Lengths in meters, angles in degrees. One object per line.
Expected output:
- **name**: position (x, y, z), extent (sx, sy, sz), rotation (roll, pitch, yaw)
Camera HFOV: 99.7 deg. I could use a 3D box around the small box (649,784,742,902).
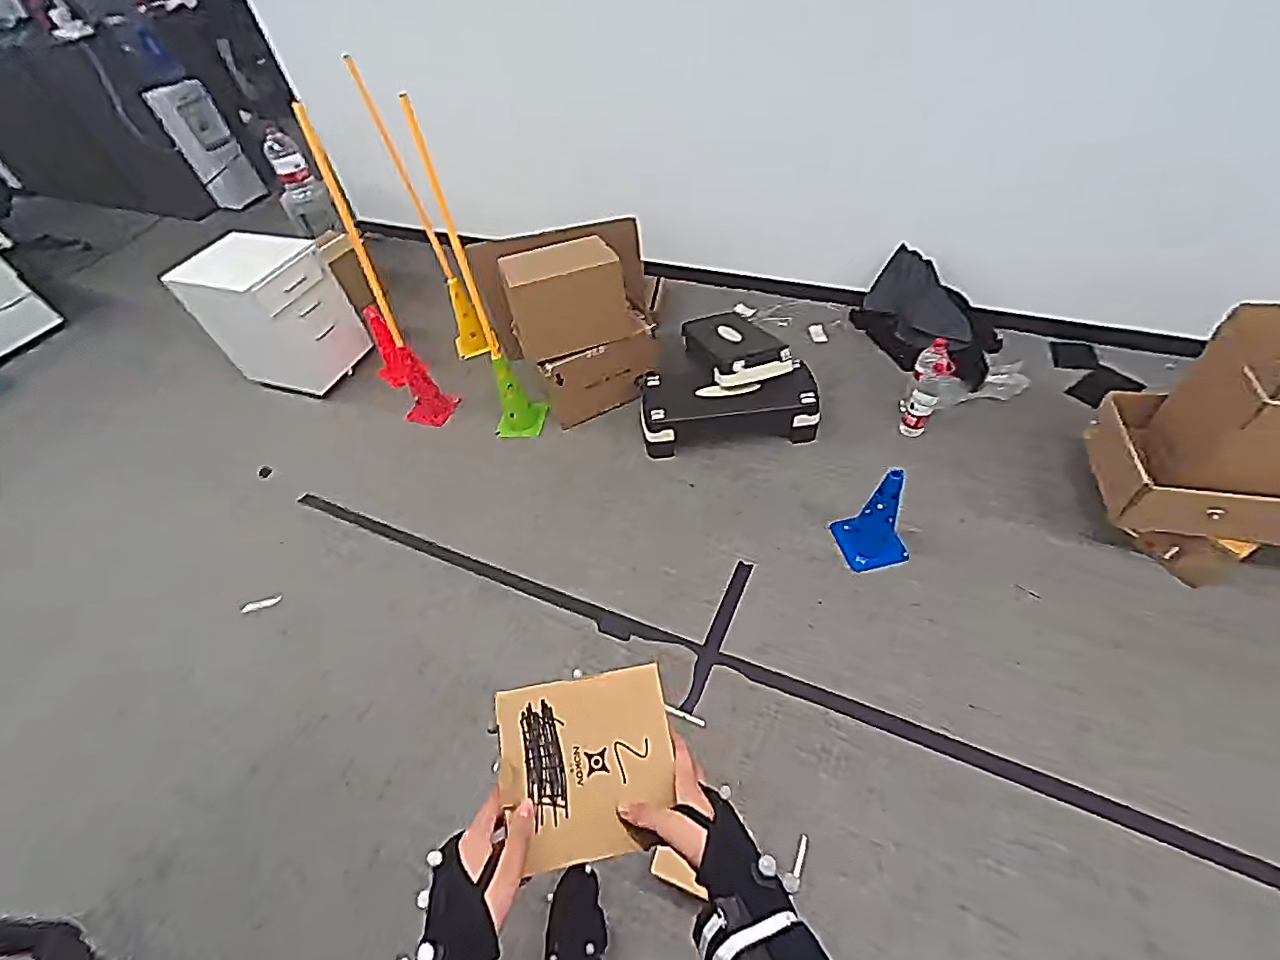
- **small box**: position (0.134, 0.848, 1.261), extent (0.168, 0.176, 0.179), rotation (14, 54, 18)
